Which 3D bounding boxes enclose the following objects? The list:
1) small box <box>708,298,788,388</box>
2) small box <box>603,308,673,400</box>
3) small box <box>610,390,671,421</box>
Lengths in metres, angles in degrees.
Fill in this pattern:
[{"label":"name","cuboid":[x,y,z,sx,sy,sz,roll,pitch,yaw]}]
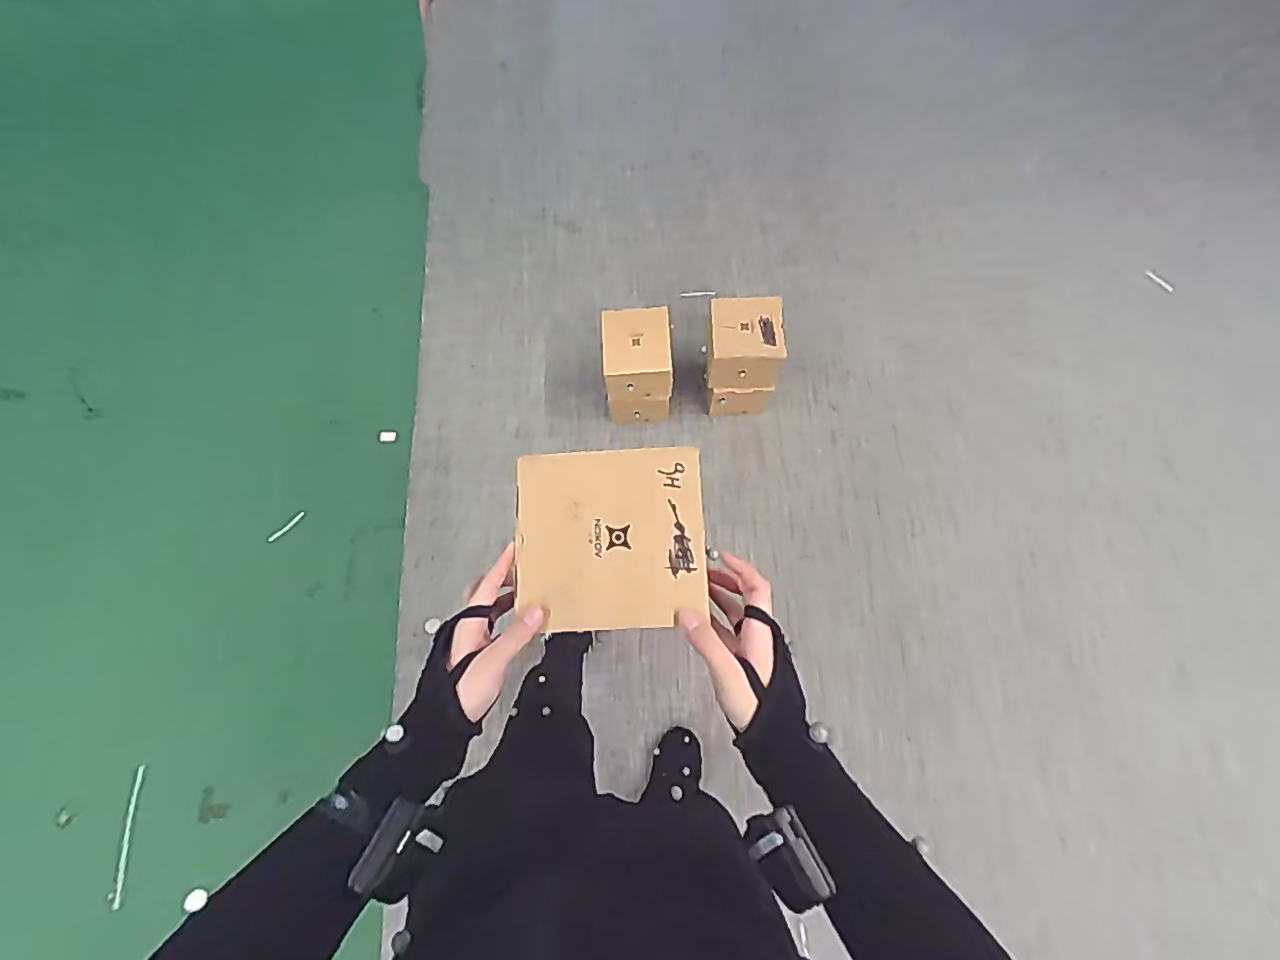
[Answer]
[{"label":"small box","cuboid":[0.268,-0.345,1.381,0.179,0.176,0.168,-1,74,3]},{"label":"small box","cuboid":[-0.001,-0.314,1.386,0.168,0.176,0.179,-4,74,2]},{"label":"small box","cuboid":[0.004,-0.272,1.542,0.168,0.176,0.179,-1,75,2]}]
